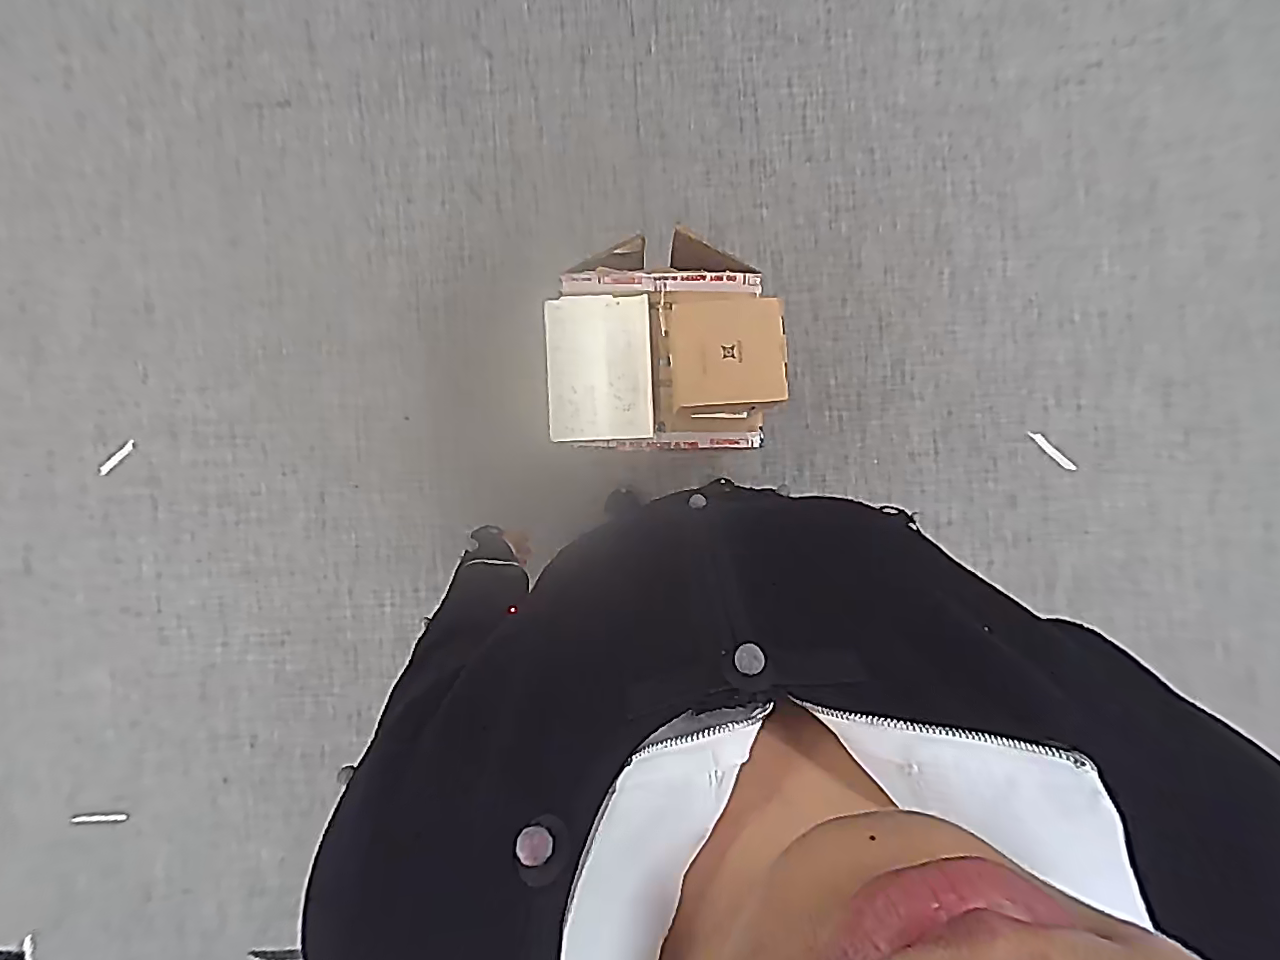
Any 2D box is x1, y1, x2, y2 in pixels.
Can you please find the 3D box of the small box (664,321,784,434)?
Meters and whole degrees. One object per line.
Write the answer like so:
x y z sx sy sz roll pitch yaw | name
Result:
0.140 -0.172 0.948 0.179 0.176 0.168 -5 91 0 | small box
